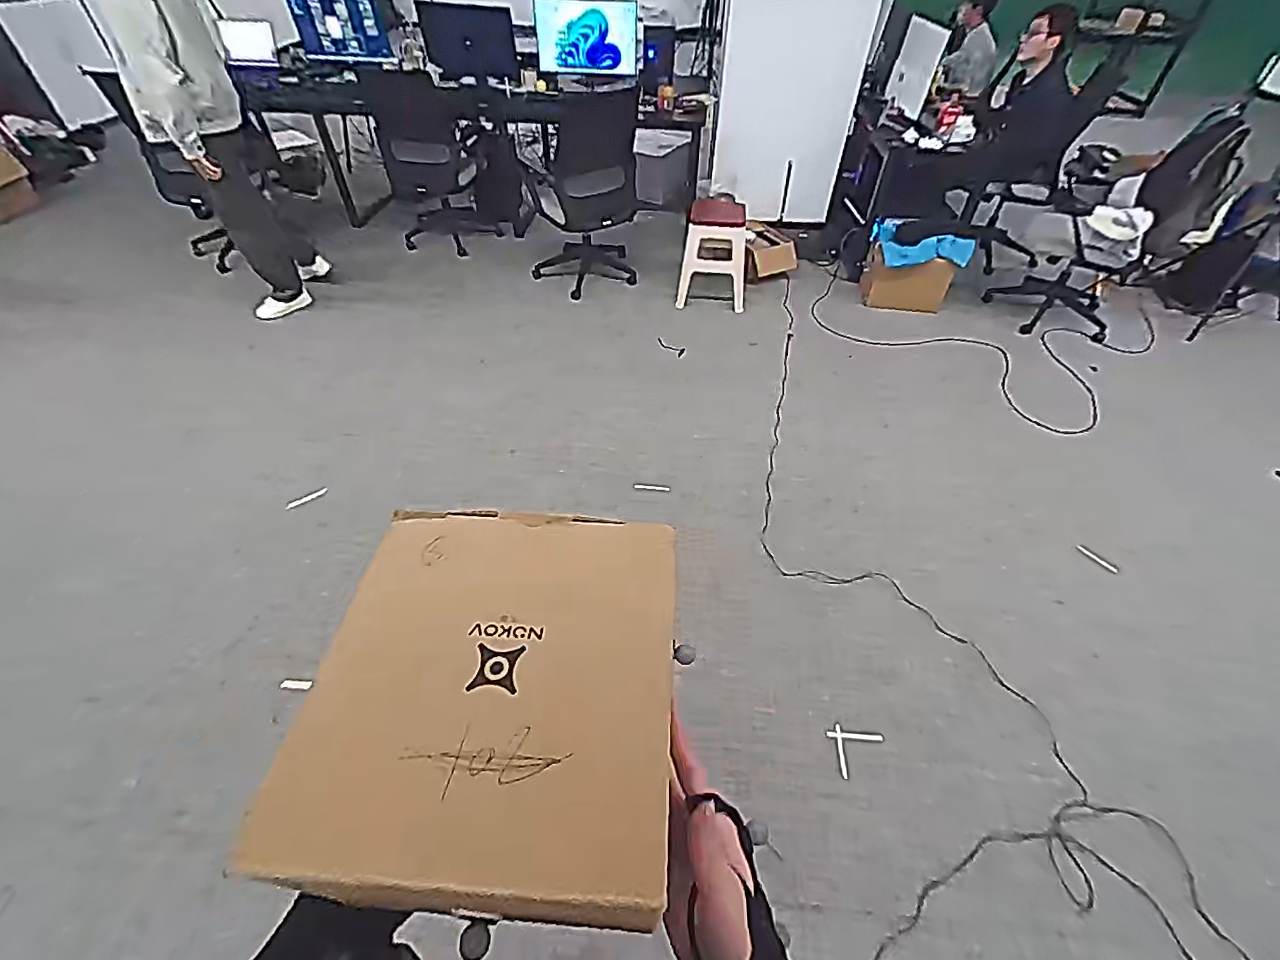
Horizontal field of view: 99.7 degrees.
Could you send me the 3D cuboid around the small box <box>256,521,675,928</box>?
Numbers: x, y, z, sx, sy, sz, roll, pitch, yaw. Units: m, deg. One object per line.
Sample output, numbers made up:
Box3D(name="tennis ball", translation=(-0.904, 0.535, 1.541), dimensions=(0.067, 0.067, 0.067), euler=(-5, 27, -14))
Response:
Box3D(name="small box", translation=(-0.067, 0.146, 0.324), dimensions=(0.168, 0.176, 0.179), euler=(2, 49, 2))
